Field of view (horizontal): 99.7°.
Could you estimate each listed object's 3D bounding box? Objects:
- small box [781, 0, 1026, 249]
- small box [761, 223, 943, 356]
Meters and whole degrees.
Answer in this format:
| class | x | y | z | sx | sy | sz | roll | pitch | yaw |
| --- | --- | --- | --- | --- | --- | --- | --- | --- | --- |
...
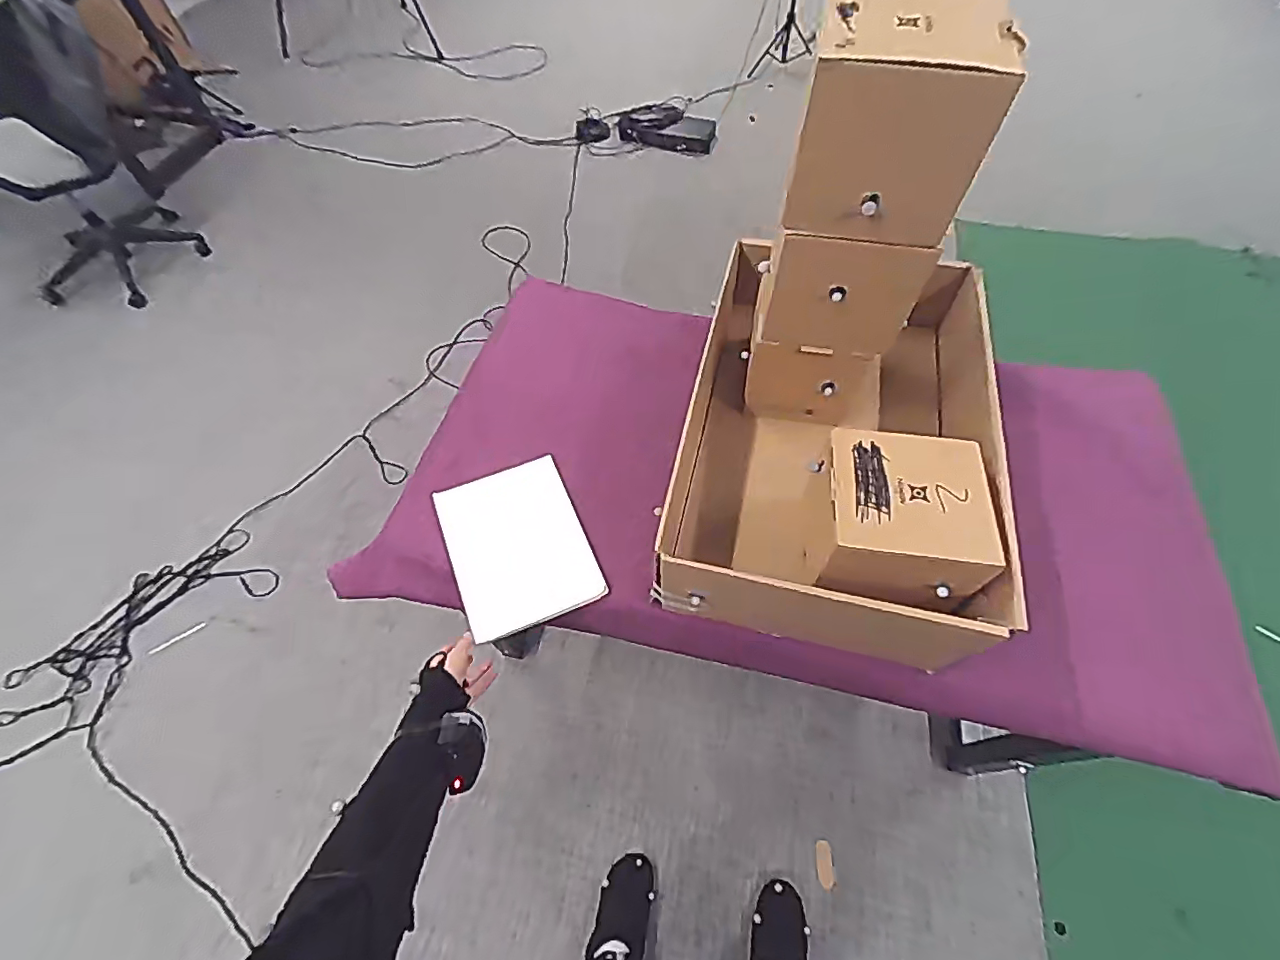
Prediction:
| class | x | y | z | sx | sy | sz | roll | pitch | yaw |
| --- | --- | --- | --- | --- | --- | --- | --- | --- | --- |
| small box | 0.263 | -0.374 | 0.576 | 0.179 | 0.176 | 0.168 | 11 | 59 | 7 |
| small box | 0.268 | -0.285 | 0.714 | 0.179 | 0.176 | 0.168 | 9 | 59 | 7 |
